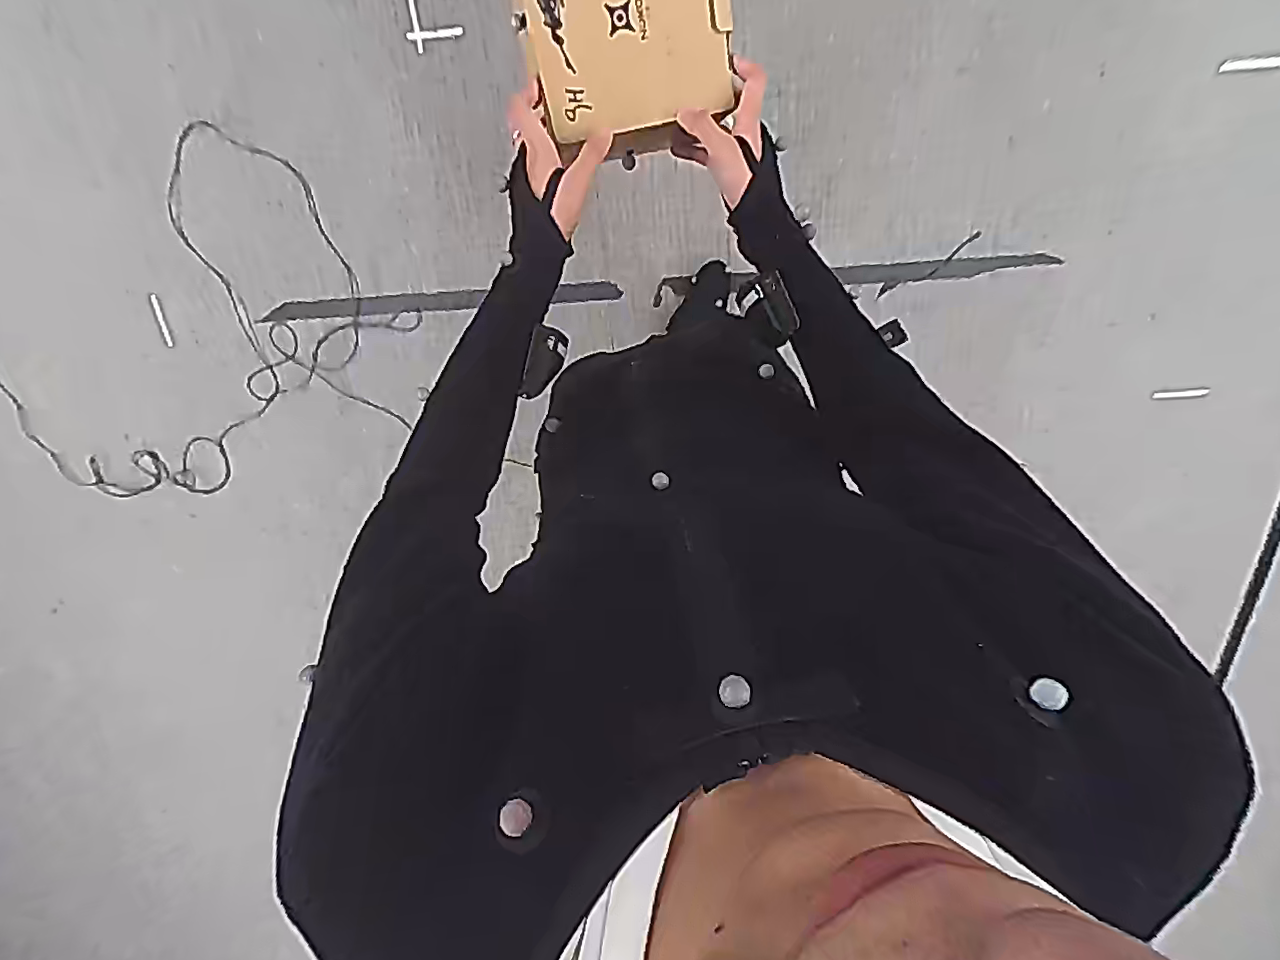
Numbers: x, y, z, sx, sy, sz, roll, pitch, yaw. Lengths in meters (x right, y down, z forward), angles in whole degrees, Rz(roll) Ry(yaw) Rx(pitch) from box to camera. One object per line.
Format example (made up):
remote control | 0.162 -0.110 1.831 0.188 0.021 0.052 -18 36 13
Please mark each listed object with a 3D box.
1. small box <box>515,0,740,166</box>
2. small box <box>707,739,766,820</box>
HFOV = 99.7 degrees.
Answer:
small box | -0.020 -0.427 0.533 0.179 0.176 0.168 -15 114 -5
small box | 0.329 0.992 1.805 0.179 0.176 0.168 -9 111 3
